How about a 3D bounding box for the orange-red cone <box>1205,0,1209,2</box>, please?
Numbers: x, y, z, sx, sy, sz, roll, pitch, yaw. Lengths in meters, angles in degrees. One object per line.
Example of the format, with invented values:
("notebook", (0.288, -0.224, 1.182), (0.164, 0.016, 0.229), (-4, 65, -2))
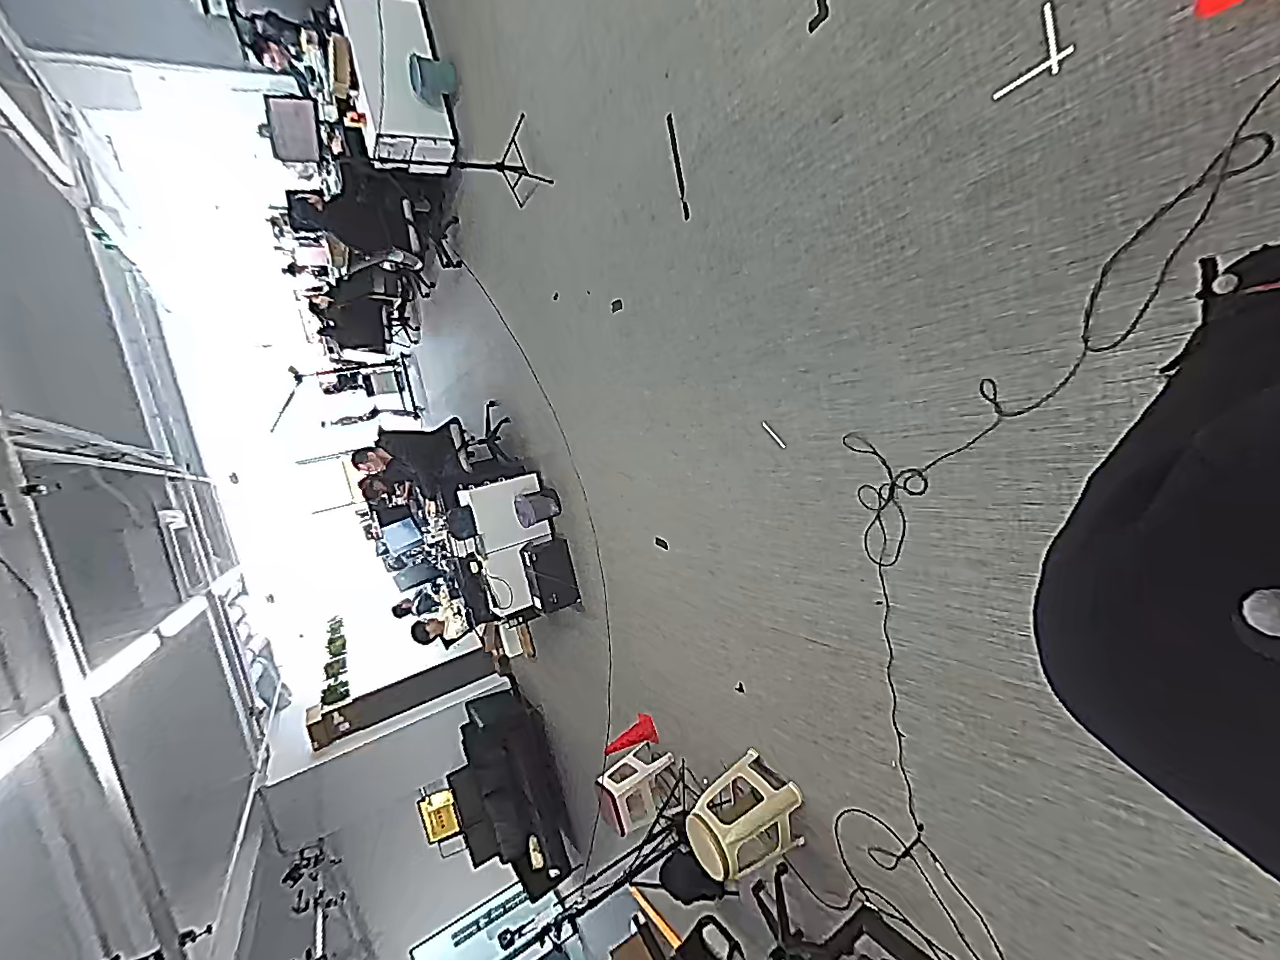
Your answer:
("orange-red cone", (0.856, -0.865, 0.756), (0.199, 0.360, 0.198), (8, 110, 60))
